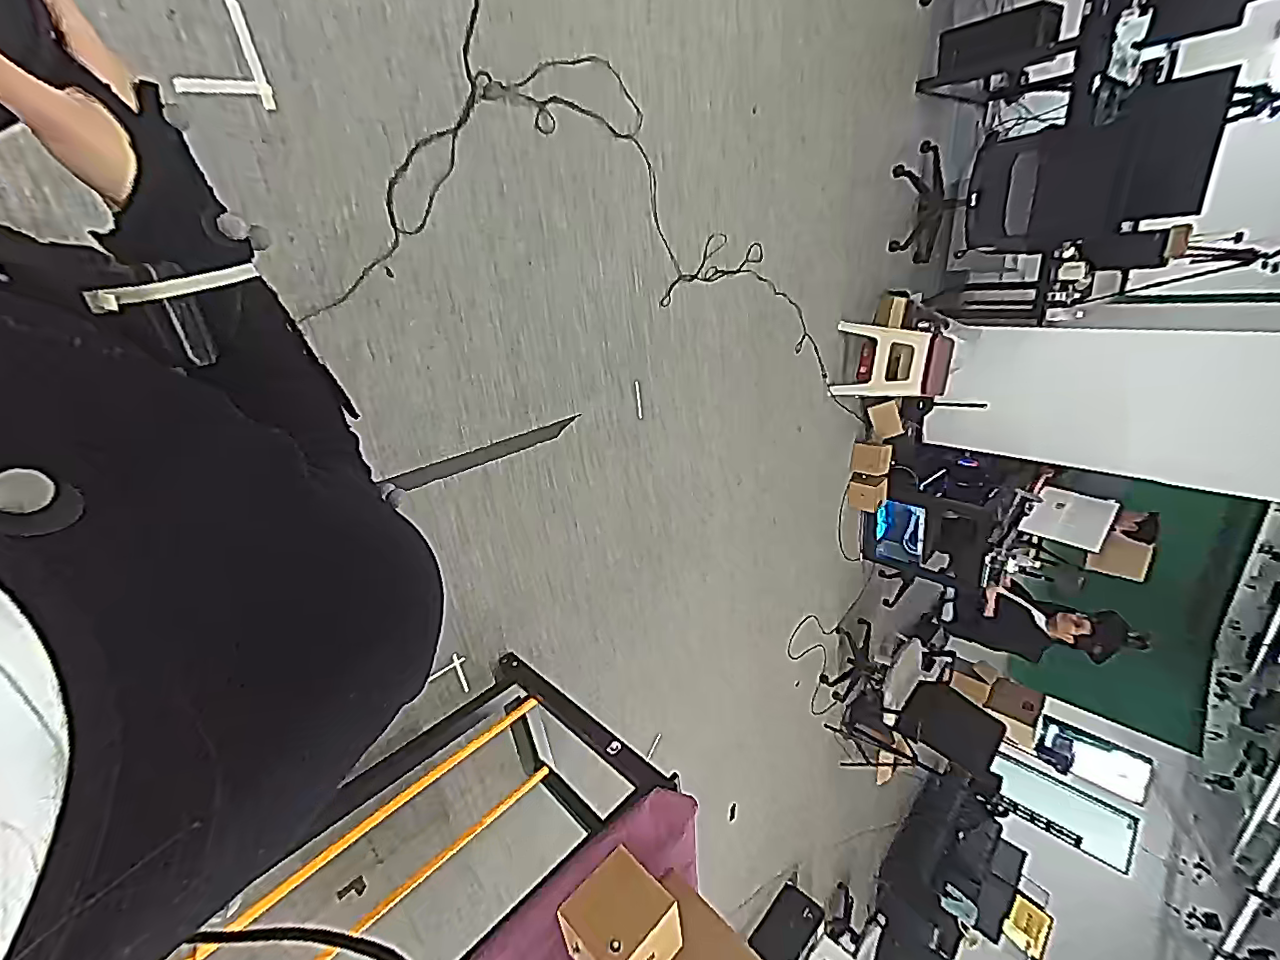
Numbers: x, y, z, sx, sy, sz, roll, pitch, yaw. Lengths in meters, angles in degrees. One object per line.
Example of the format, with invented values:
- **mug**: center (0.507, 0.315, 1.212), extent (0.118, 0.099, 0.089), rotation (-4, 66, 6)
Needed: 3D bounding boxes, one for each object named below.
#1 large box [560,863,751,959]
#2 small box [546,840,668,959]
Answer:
- **large box**: center (0.053, 1.212, 1.232), extent (0.320, 0.320, 0.408), rotation (-25, 118, -37)
- **small box**: center (-0.065, 0.898, 1.110), extent (0.179, 0.176, 0.168), rotation (-27, 123, -36)
